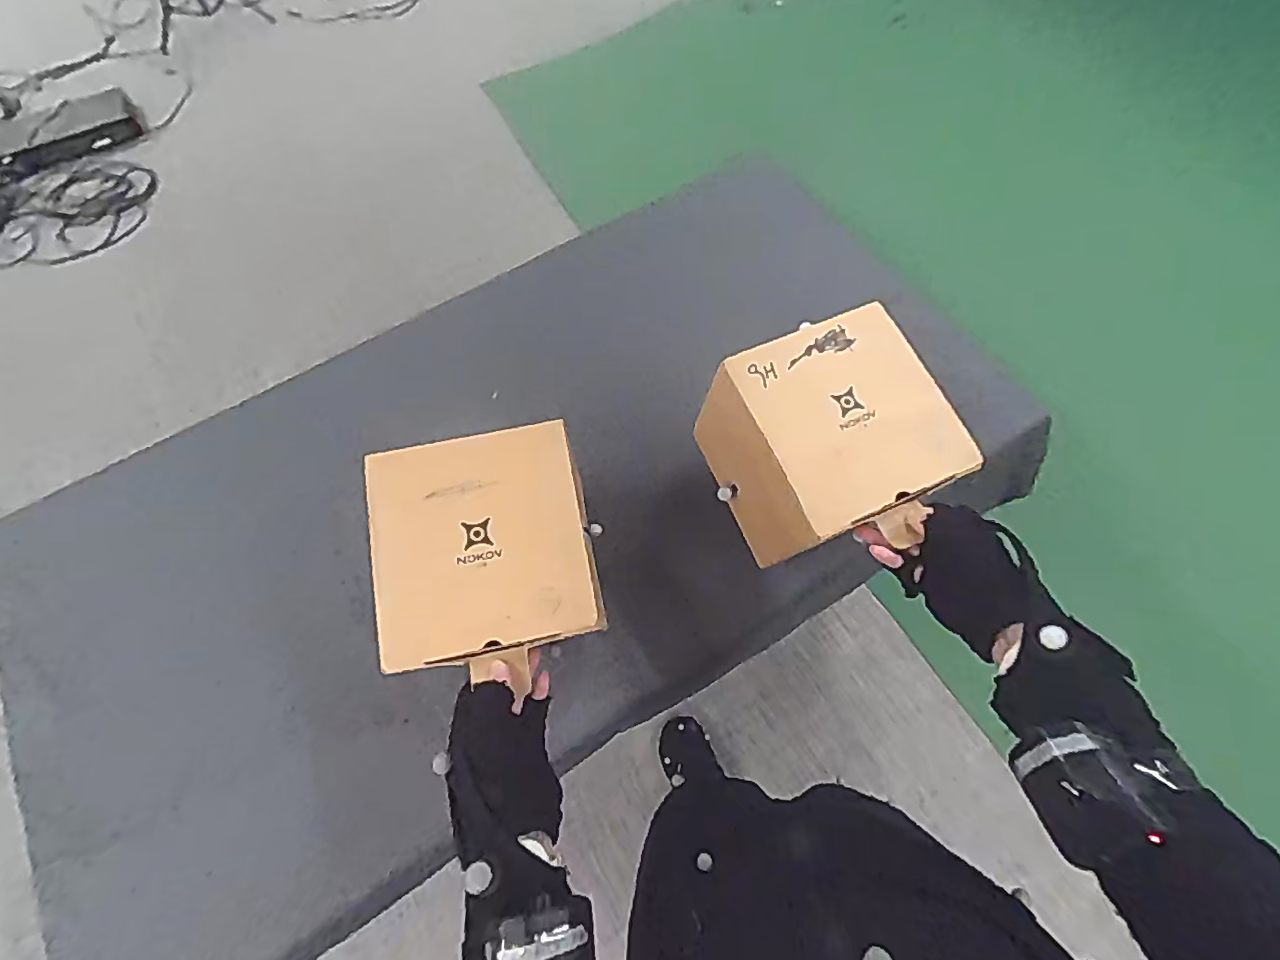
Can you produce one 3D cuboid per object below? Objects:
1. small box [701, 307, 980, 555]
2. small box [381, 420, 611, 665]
[{"bbox_3d":[0.179,-0.034,0.543,0.168,0.176,0.179,-21,77,-11],"label":"small box"},{"bbox_3d":[-0.122,0.065,0.509,0.168,0.176,0.179,-11,74,-5],"label":"small box"}]
